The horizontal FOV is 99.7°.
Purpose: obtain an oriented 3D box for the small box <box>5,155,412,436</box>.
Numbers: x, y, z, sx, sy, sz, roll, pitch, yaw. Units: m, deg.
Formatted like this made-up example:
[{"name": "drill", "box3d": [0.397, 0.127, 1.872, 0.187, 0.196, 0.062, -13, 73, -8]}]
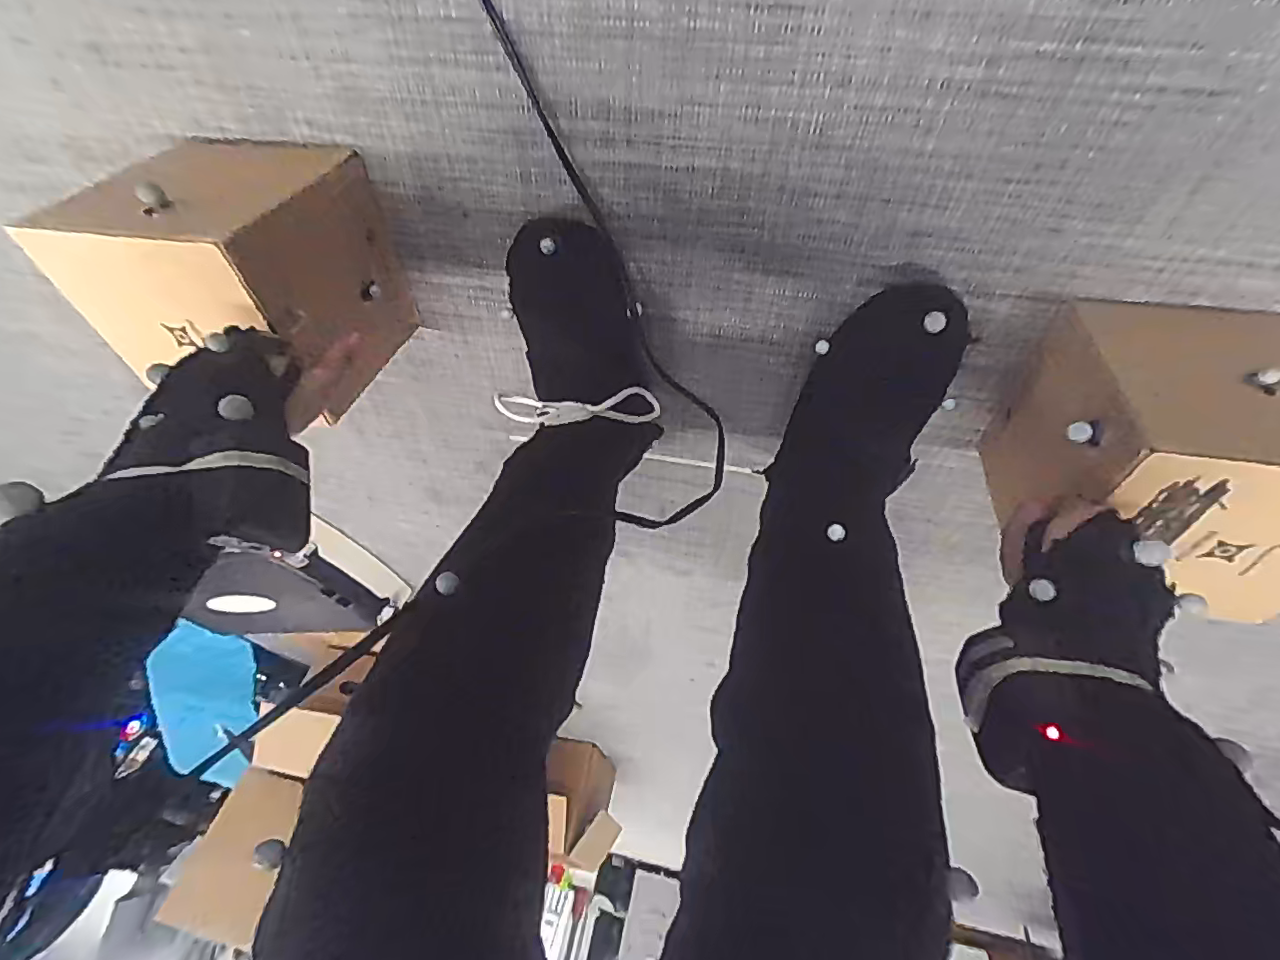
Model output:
[{"name": "small box", "box3d": [-0.337, -0.163, 0.470, 0.179, 0.176, 0.168, 7, 140, 8]}]
